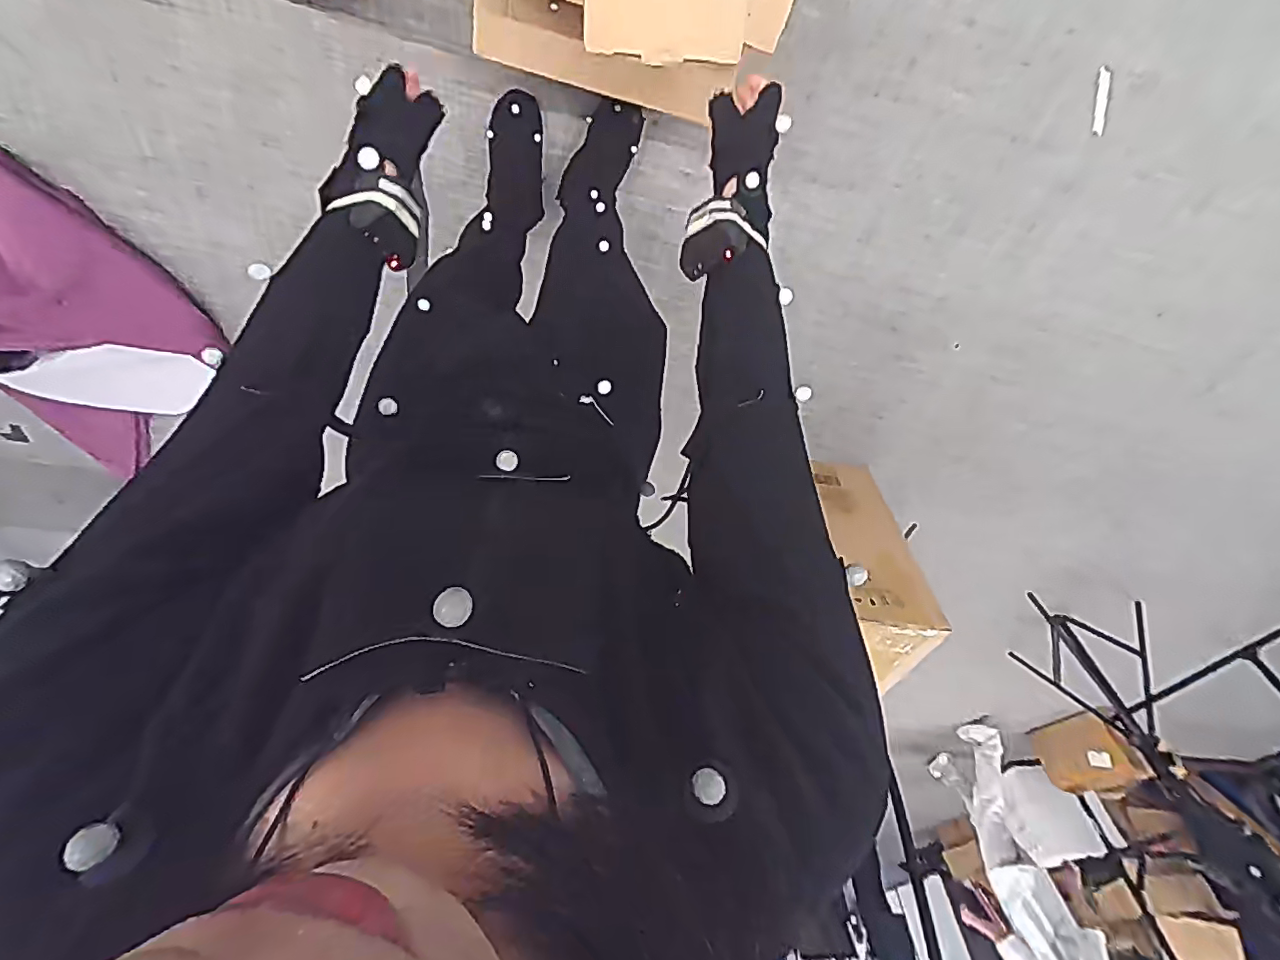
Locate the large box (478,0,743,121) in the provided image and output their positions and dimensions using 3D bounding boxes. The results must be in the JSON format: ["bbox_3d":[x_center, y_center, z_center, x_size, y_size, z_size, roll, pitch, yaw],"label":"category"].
[{"bbox_3d":[-0.033,-0.828,0.867,0.408,0.320,0.320,7,133,-13],"label":"large box"}]

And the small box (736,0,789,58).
[{"bbox_3d":[0.112,-0.678,0.686,0.168,0.176,0.179,12,130,-15],"label":"small box"}]

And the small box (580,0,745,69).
[{"bbox_3d":[0.024,-0.559,0.566,0.168,0.176,0.179,1,134,-6],"label":"small box"}]
